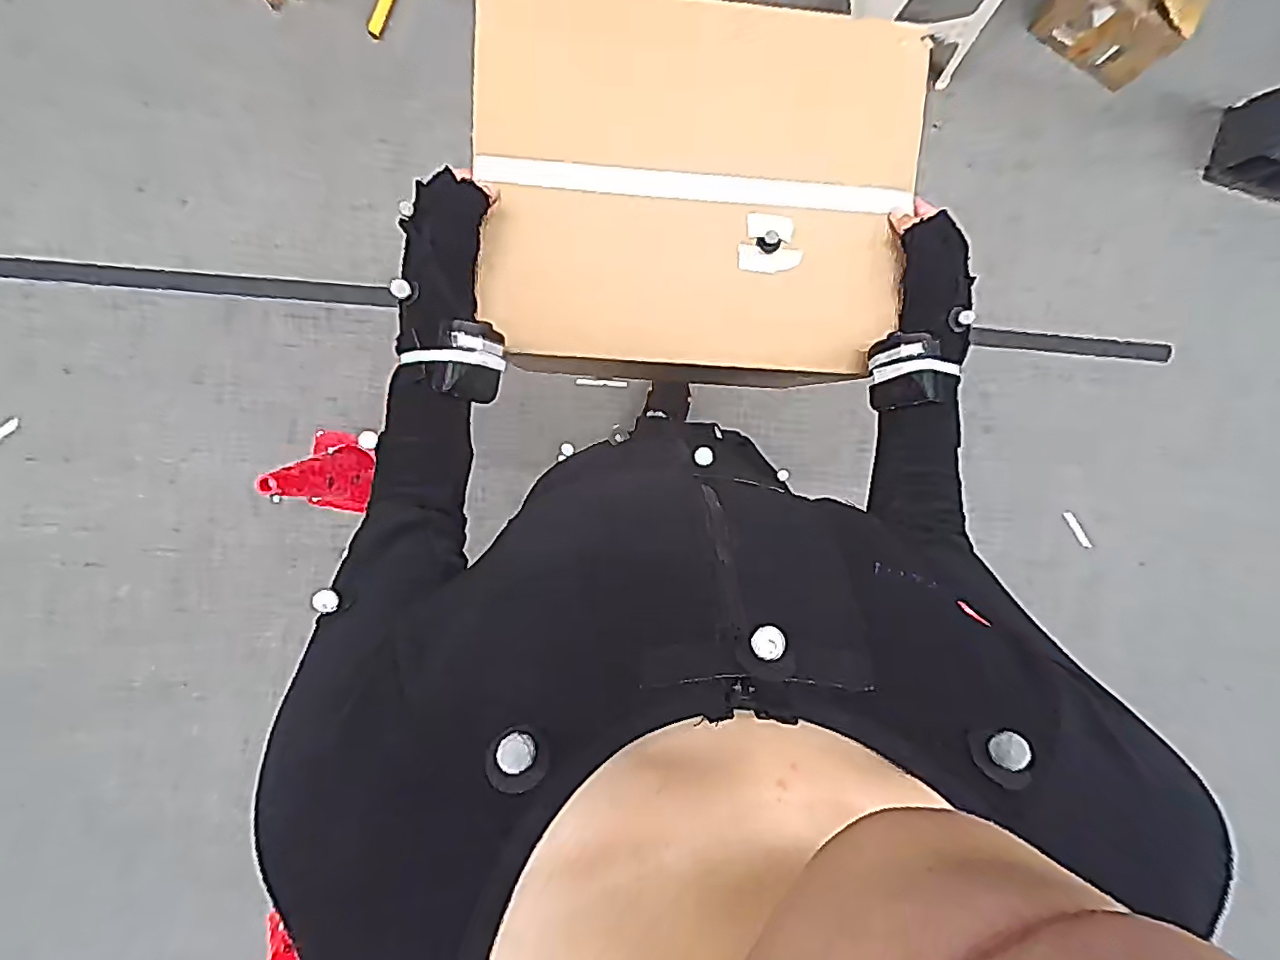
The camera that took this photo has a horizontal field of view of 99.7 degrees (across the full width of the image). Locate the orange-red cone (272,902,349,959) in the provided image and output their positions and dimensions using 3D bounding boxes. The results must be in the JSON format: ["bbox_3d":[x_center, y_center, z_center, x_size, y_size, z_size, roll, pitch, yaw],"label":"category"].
[{"bbox_3d":[-0.901,1.281,1.330,0.198,0.360,0.199,1,96,-3],"label":"orange-red cone"}]

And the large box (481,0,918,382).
[{"bbox_3d":[0.042,-0.290,0.648,0.408,0.320,0.320,2,97,-5],"label":"large box"}]

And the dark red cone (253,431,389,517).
[{"bbox_3d":[-0.737,-0.004,1.220,0.201,0.394,0.202,10,94,-5],"label":"dark red cone"}]
